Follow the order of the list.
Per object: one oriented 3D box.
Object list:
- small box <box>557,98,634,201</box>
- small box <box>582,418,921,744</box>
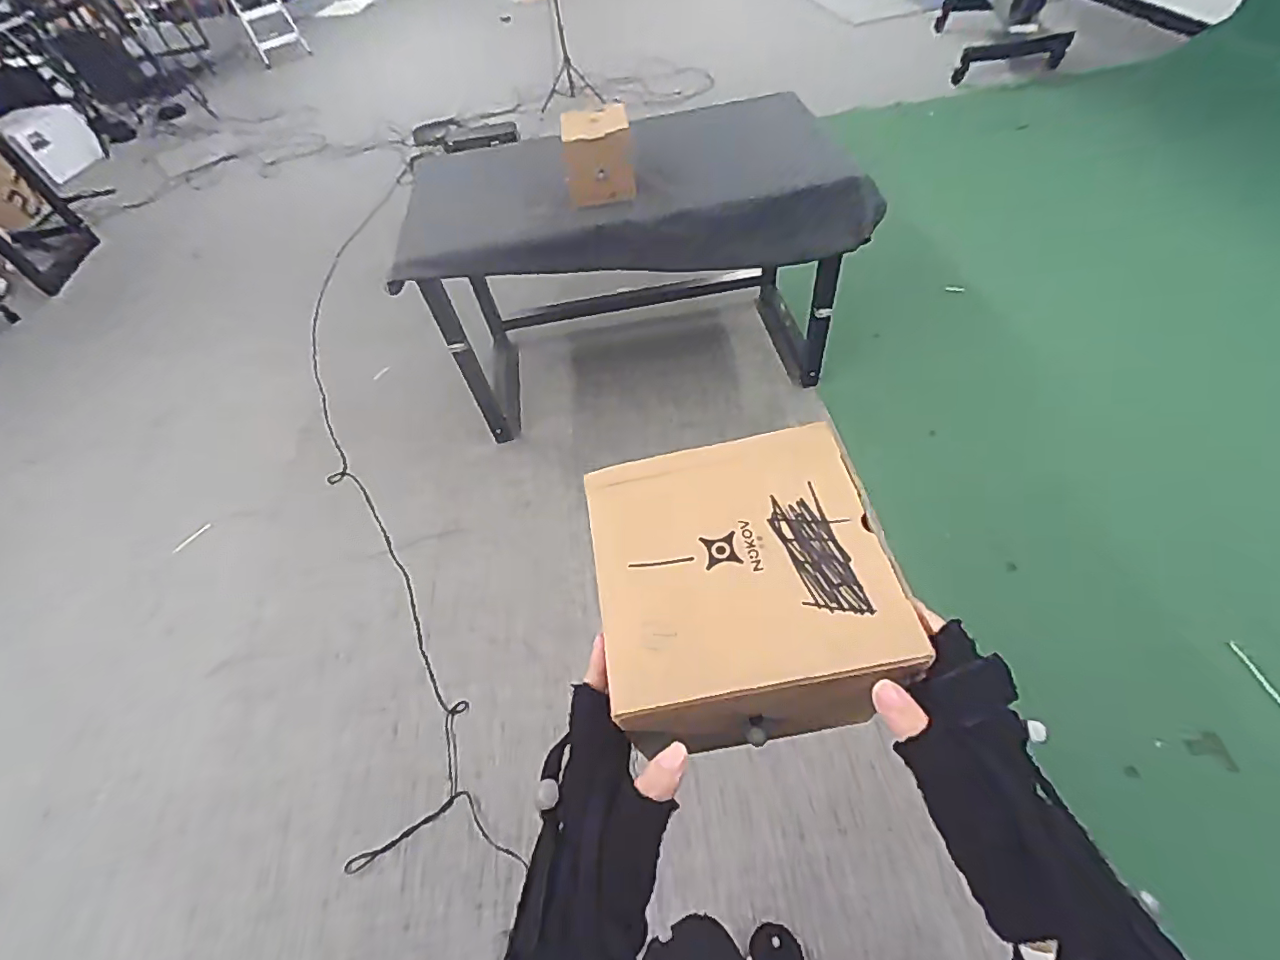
[{"bbox_3d":[-0.112,-0.844,1.395,0.168,0.176,0.179,-10,53,2],"label":"small box"},{"bbox_3d":[0.066,0.083,0.400,0.179,0.176,0.168,-13,55,2],"label":"small box"}]
